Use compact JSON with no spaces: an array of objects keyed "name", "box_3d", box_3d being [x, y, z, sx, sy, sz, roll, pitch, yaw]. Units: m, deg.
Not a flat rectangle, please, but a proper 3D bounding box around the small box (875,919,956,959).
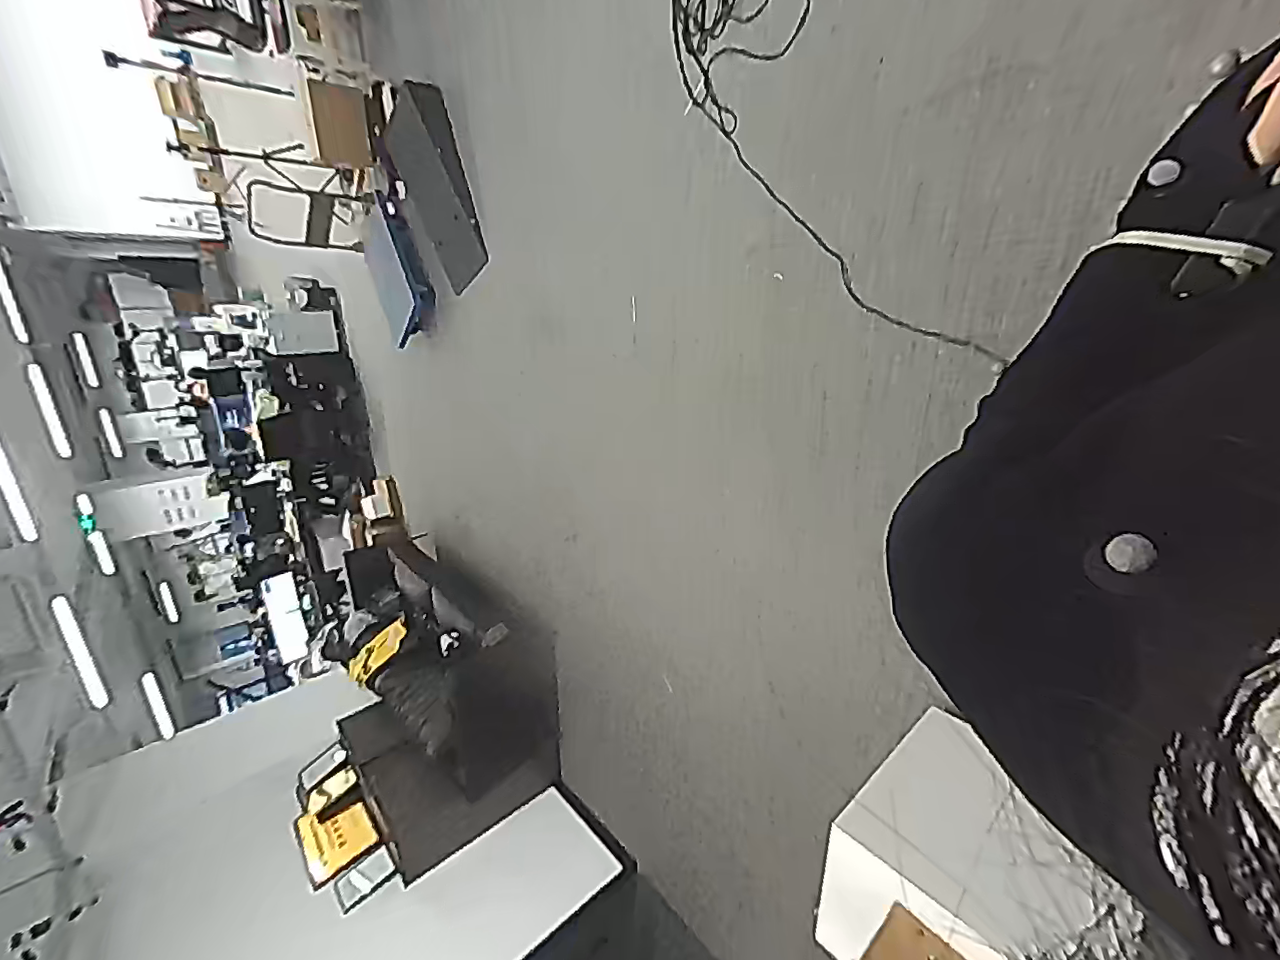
[{"name":"small box","box_3d":[0.535,1.018,1.040,0.168,0.176,0.179,23,120,44]}]
